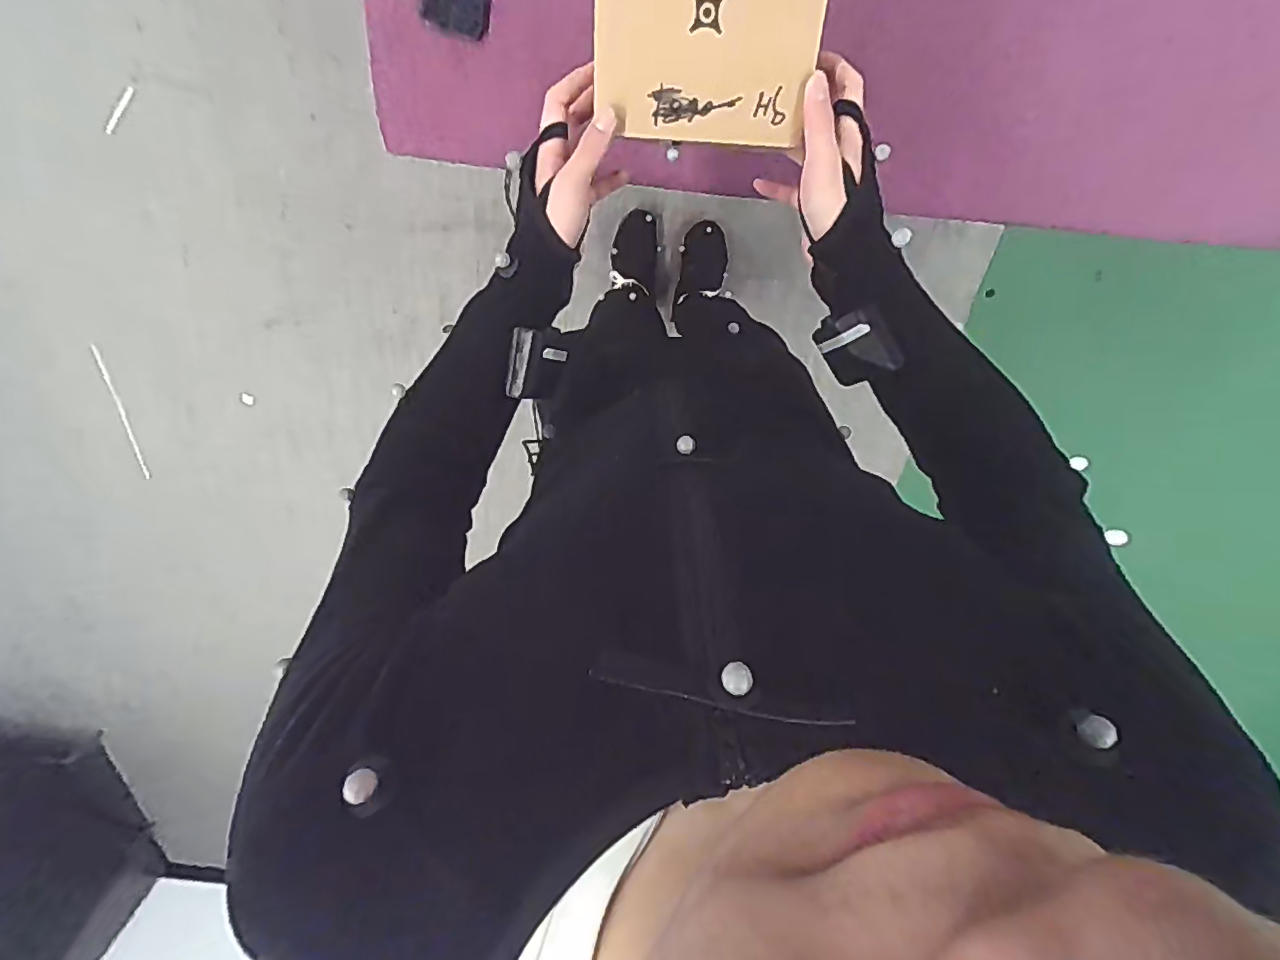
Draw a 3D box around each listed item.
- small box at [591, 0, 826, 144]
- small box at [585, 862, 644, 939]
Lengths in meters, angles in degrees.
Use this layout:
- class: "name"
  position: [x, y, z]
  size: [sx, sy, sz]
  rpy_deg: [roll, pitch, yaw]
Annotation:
- class: "small box"
  position: [0.053, -0.386, 0.443]
  size: [0.168, 0.176, 0.179]
  rpy_deg: [5, 122, 1]
- class: "small box"
  position: [-0.080, 1.400, 1.779]
  size: [0.168, 0.176, 0.179]
  rpy_deg: [9, 119, -2]
